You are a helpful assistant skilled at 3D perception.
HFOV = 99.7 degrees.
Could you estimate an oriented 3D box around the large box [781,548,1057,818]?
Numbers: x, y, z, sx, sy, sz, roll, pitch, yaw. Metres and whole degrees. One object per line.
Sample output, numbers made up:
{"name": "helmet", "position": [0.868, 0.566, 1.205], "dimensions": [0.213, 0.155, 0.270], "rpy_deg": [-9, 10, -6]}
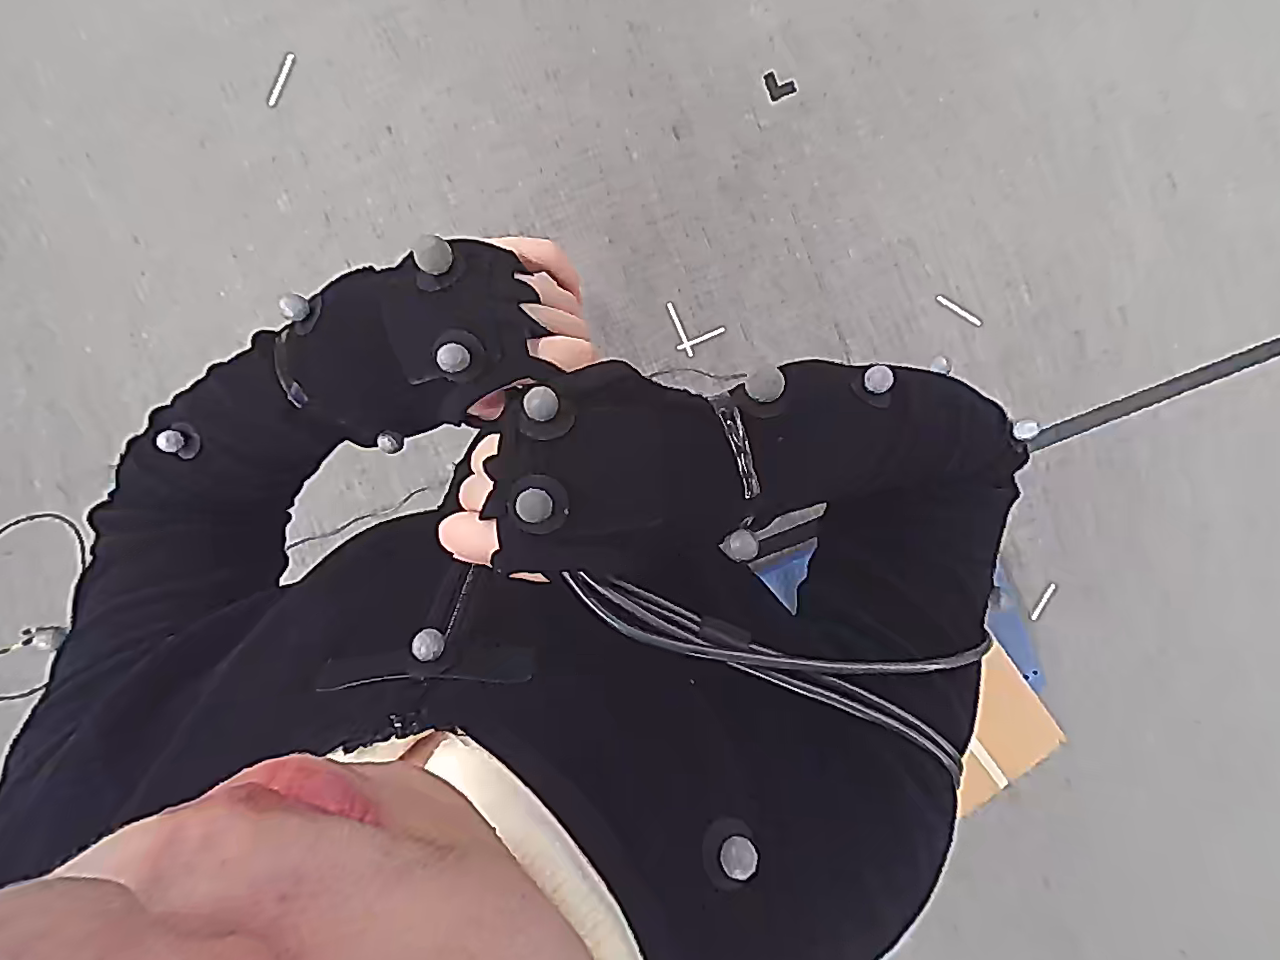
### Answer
{"name": "large box", "position": [0.589, 0.425, 1.213], "dimensions": [0.320, 0.320, 0.408], "rpy_deg": [-37, 96, 3]}
